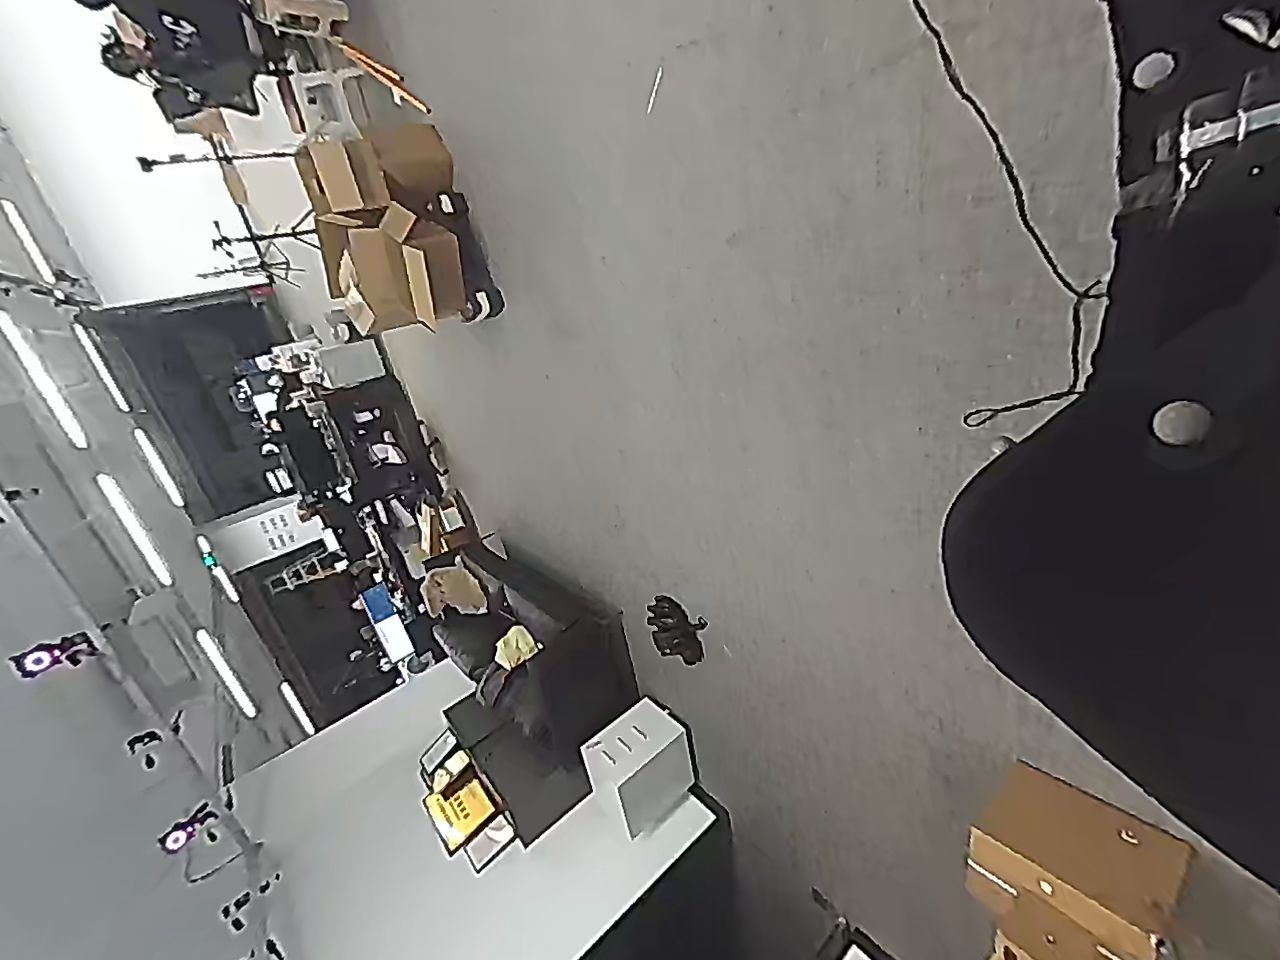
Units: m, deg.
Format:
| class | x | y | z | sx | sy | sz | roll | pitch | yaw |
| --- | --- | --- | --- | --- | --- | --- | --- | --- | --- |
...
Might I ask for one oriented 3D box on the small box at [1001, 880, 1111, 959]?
| class | x | y | z | sx | sy | sz | roll | pitch | yaw |
| --- | --- | --- | --- | --- | --- | --- | --- | --- | --- |
| small box | 1.079 | 1.196 | 1.408 | 0.179 | 0.176 | 0.168 | 17 | 121 | 51 |
